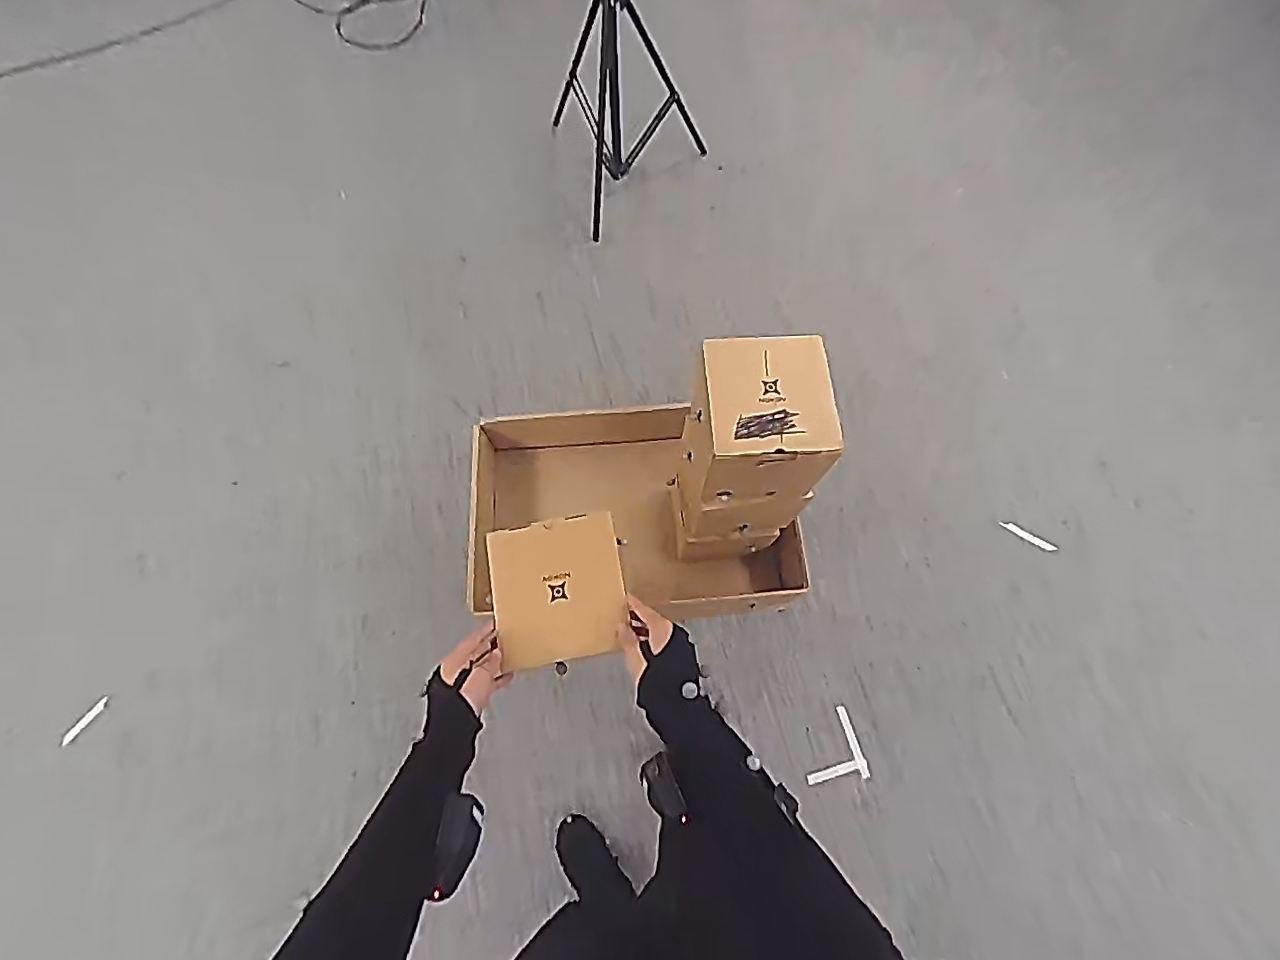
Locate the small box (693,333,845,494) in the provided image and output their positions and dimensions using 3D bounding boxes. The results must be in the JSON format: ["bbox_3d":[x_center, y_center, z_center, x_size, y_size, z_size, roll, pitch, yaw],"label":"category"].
[{"bbox_3d":[0.168,-0.083,0.764,0.168,0.176,0.179,-2,69,-1],"label":"small box"}]

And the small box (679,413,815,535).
[{"bbox_3d":[0.169,-0.011,0.913,0.179,0.176,0.168,-6,70,-3],"label":"small box"}]

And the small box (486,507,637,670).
[{"bbox_3d":[-0.099,0.153,0.743,0.168,0.176,0.179,-11,71,-2],"label":"small box"}]
